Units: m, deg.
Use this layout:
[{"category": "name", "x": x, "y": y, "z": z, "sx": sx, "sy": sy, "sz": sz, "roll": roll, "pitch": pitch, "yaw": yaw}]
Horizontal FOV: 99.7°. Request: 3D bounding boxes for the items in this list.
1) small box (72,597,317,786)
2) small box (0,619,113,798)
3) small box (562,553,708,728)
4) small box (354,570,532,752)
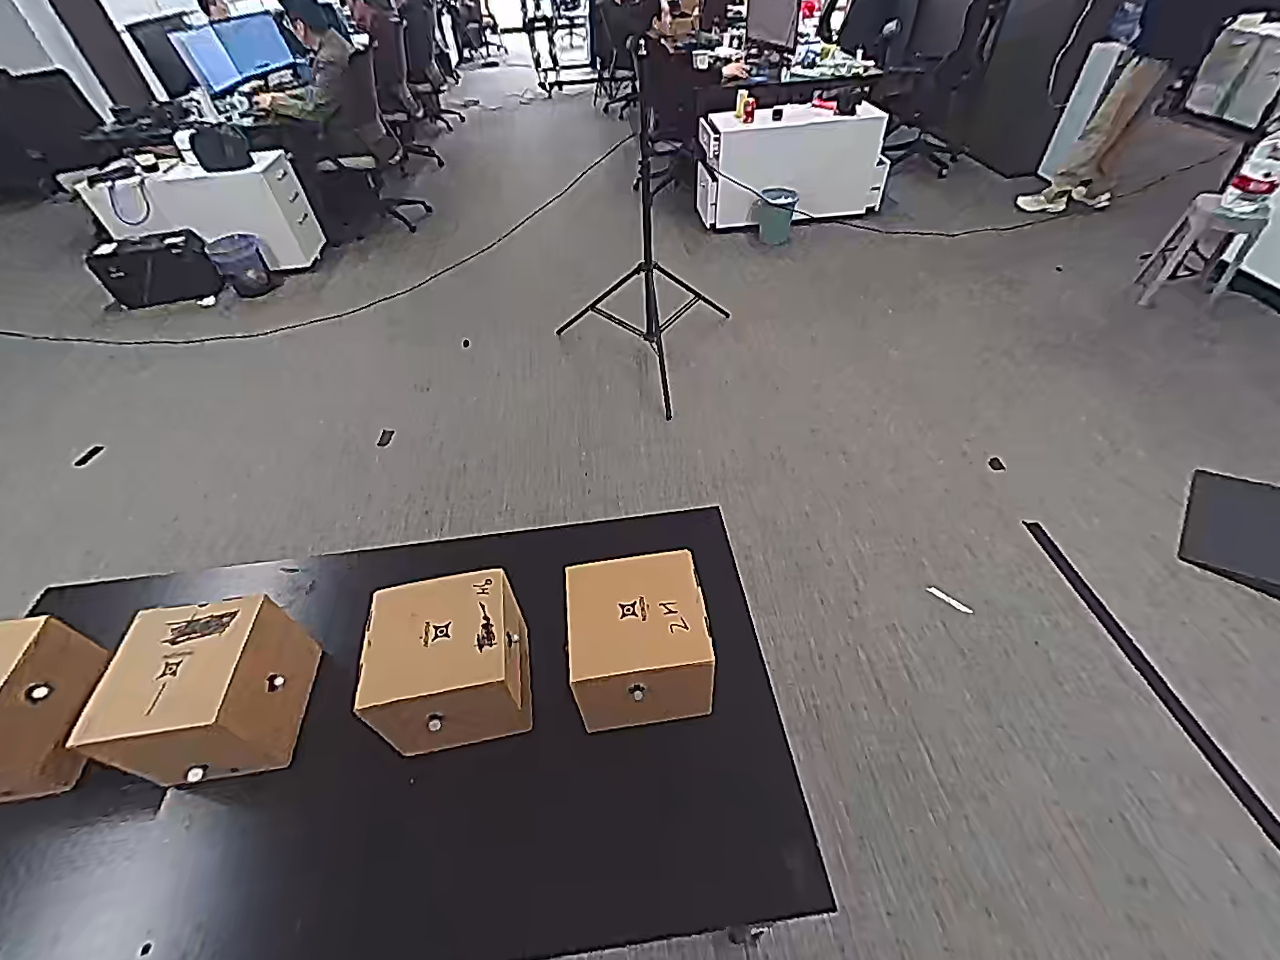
[{"category": "small box", "x": -0.572, "y": 0.286, "z": 0.731, "sx": 0.168, "sy": 0.176, "sz": 0.179, "roll": -8, "pitch": 47, "yaw": -3}, {"category": "small box", "x": -0.858, "y": 0.314, "z": 0.723, "sx": 0.168, "sy": 0.176, "sz": 0.179, "roll": -7, "pitch": 45, "yaw": -5}, {"category": "small box", "x": -0.007, "y": 0.225, "z": 0.751, "sx": 0.179, "sy": 0.176, "sz": 0.168, "roll": -7, "pitch": 46, "yaw": -3}, {"category": "small box", "x": -0.256, "y": 0.252, "z": 0.744, "sx": 0.179, "sy": 0.176, "sz": 0.168, "roll": -11, "pitch": 47, "yaw": -5}]
